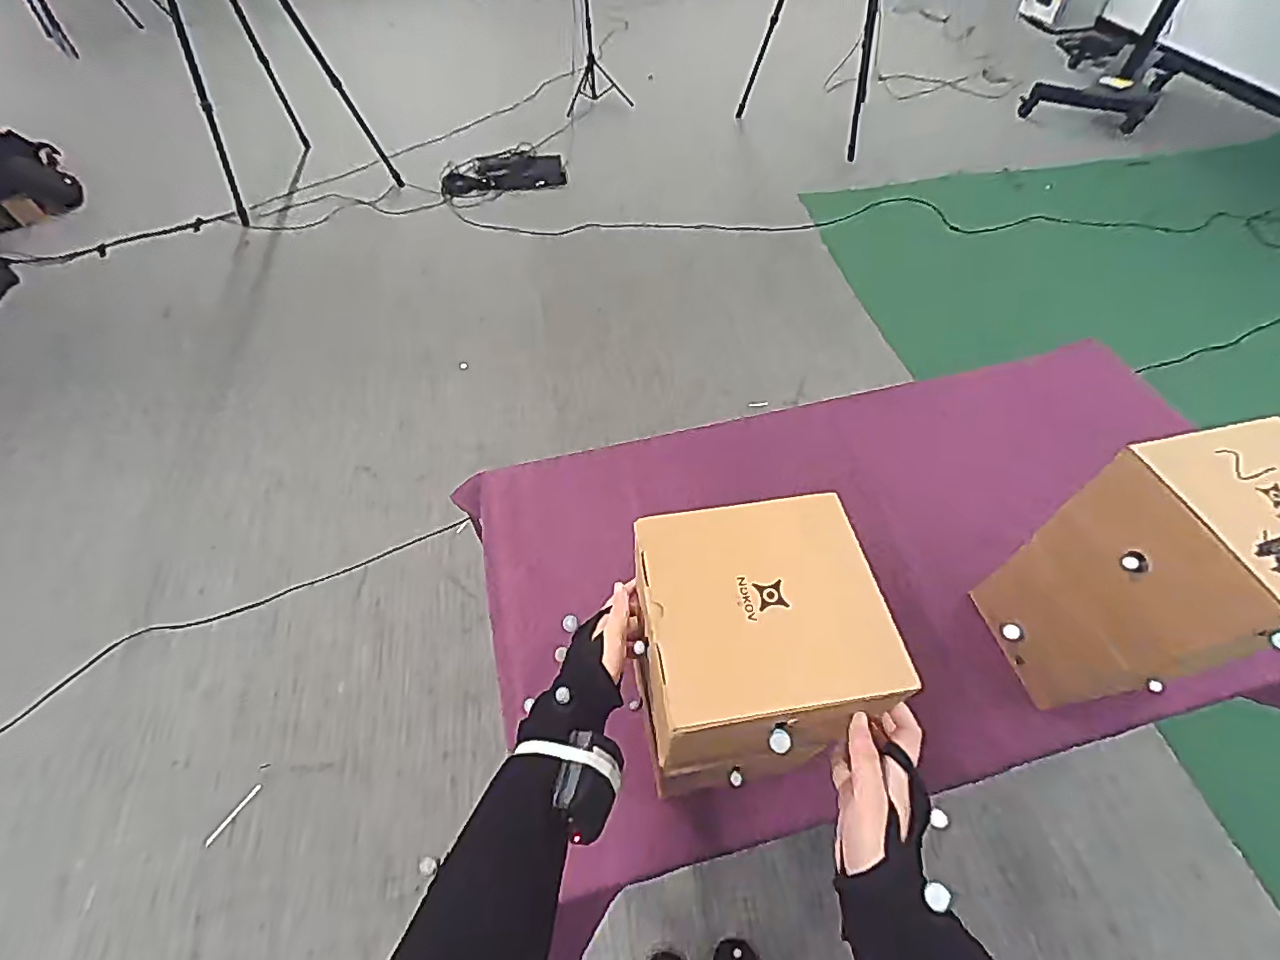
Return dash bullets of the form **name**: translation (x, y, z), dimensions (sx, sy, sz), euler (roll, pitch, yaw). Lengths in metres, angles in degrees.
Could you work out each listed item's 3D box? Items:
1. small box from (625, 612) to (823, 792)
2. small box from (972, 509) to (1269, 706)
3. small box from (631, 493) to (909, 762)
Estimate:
- **small box**: translation (0.086, 0.245, 0.624), dimensions (0.179, 0.176, 0.168), euler (-10, 55, -5)
- **small box**: translation (0.562, 0.161, 0.668), dimensions (0.179, 0.176, 0.168), euler (-11, 54, -4)
- **small box**: translation (0.091, 0.134, 0.473), dimensions (0.179, 0.176, 0.168), euler (-9, 54, -3)
